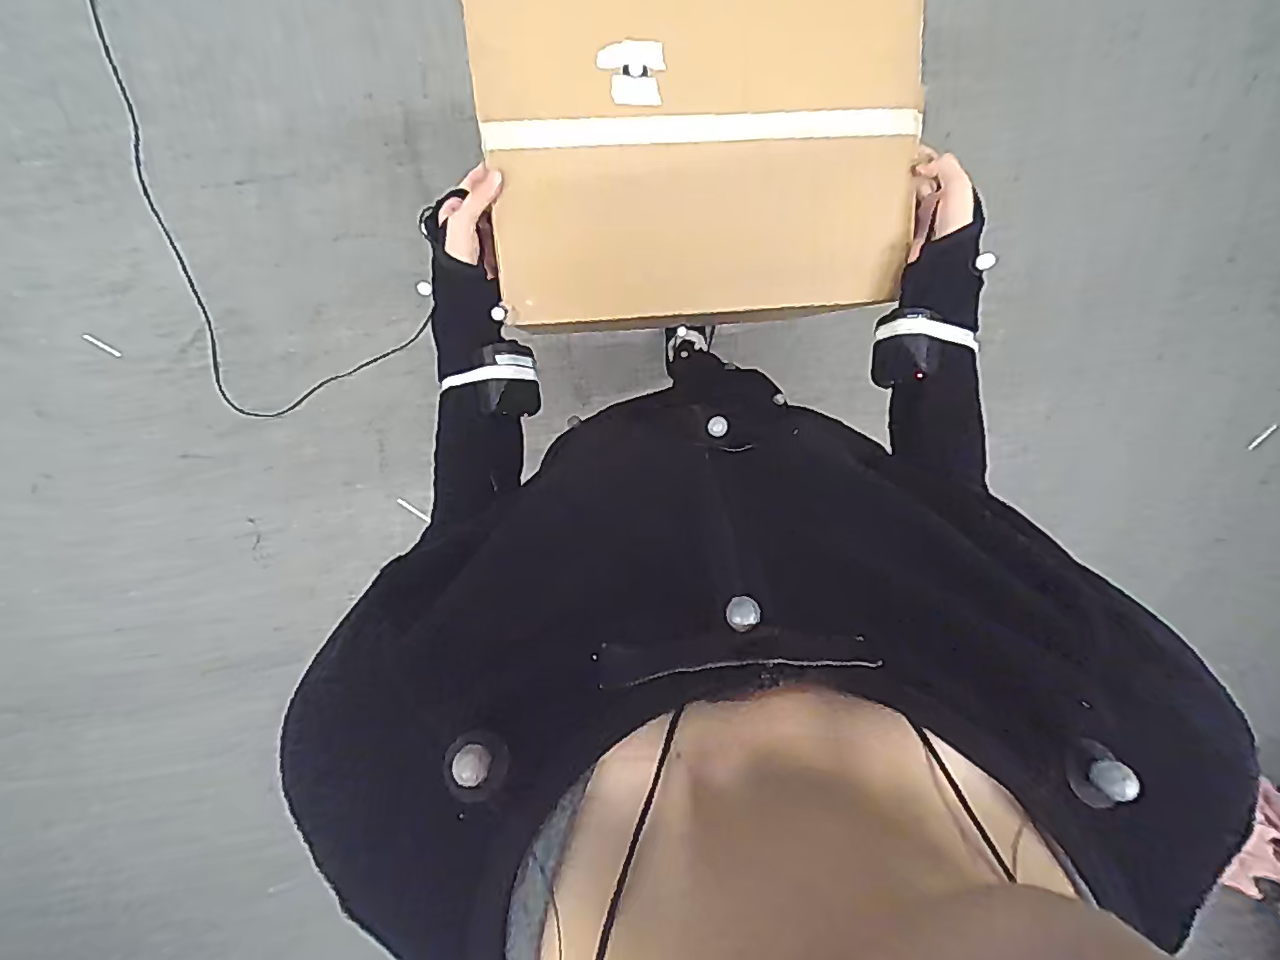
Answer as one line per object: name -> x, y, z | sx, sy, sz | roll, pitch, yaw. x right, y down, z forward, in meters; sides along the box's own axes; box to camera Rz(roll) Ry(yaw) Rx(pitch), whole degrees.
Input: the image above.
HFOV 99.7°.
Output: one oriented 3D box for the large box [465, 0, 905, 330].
large box -> 0.040, -0.356, 0.650 | 0.408, 0.320, 0.320 | -5, 103, -6
